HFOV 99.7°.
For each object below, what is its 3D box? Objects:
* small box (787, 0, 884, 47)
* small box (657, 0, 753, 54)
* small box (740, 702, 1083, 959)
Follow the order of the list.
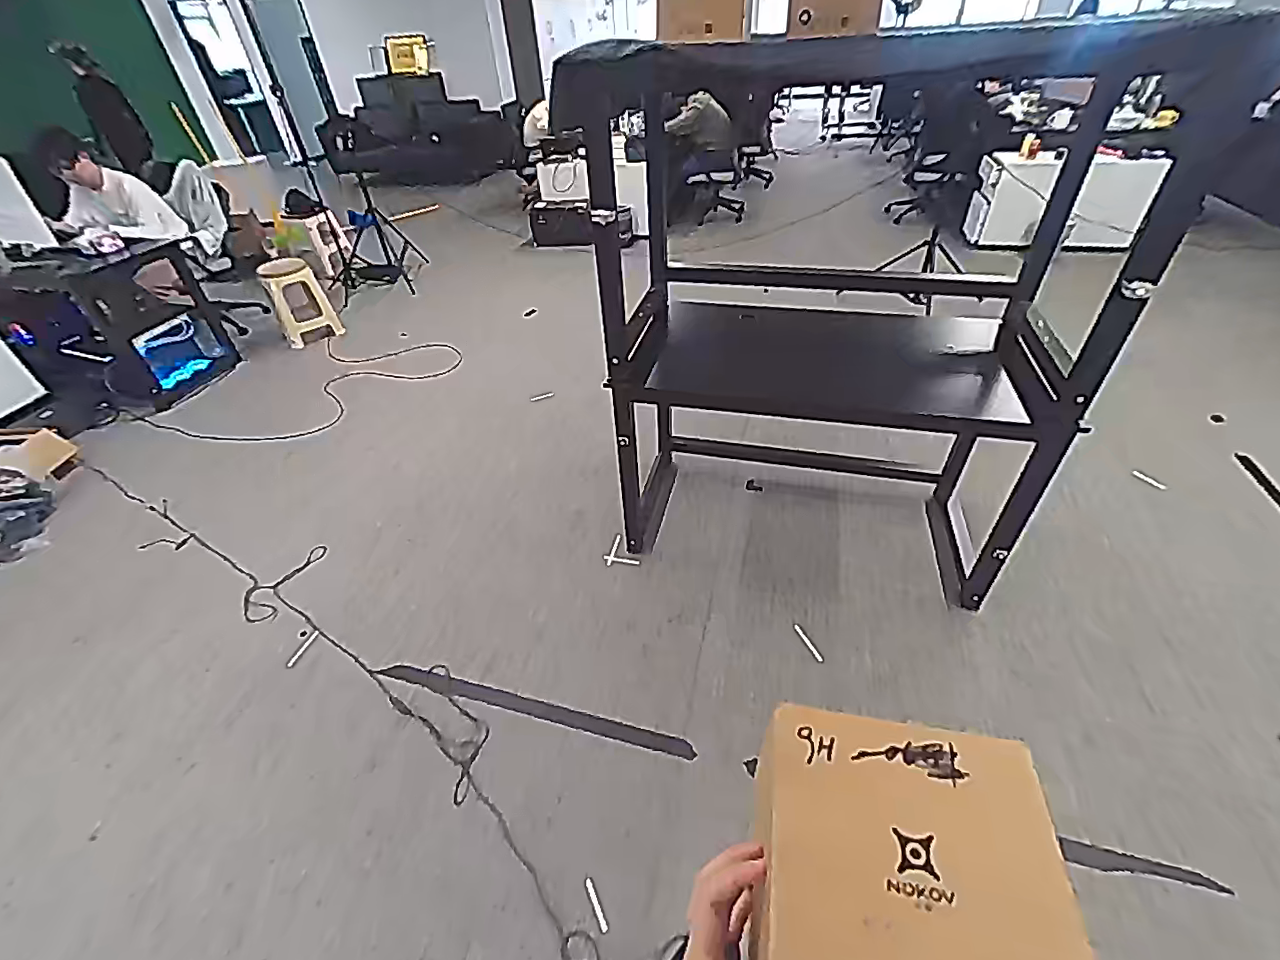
[{"bbox_3d":[0.370,-0.919,1.003,0.168,0.176,0.179,9,39,15],"label":"small box"},{"bbox_3d":[0.129,-0.934,1.041,0.168,0.176,0.179,8,39,12],"label":"small box"},{"bbox_3d":[0.160,0.283,0.367,0.168,0.176,0.179,6,45,10],"label":"small box"}]
